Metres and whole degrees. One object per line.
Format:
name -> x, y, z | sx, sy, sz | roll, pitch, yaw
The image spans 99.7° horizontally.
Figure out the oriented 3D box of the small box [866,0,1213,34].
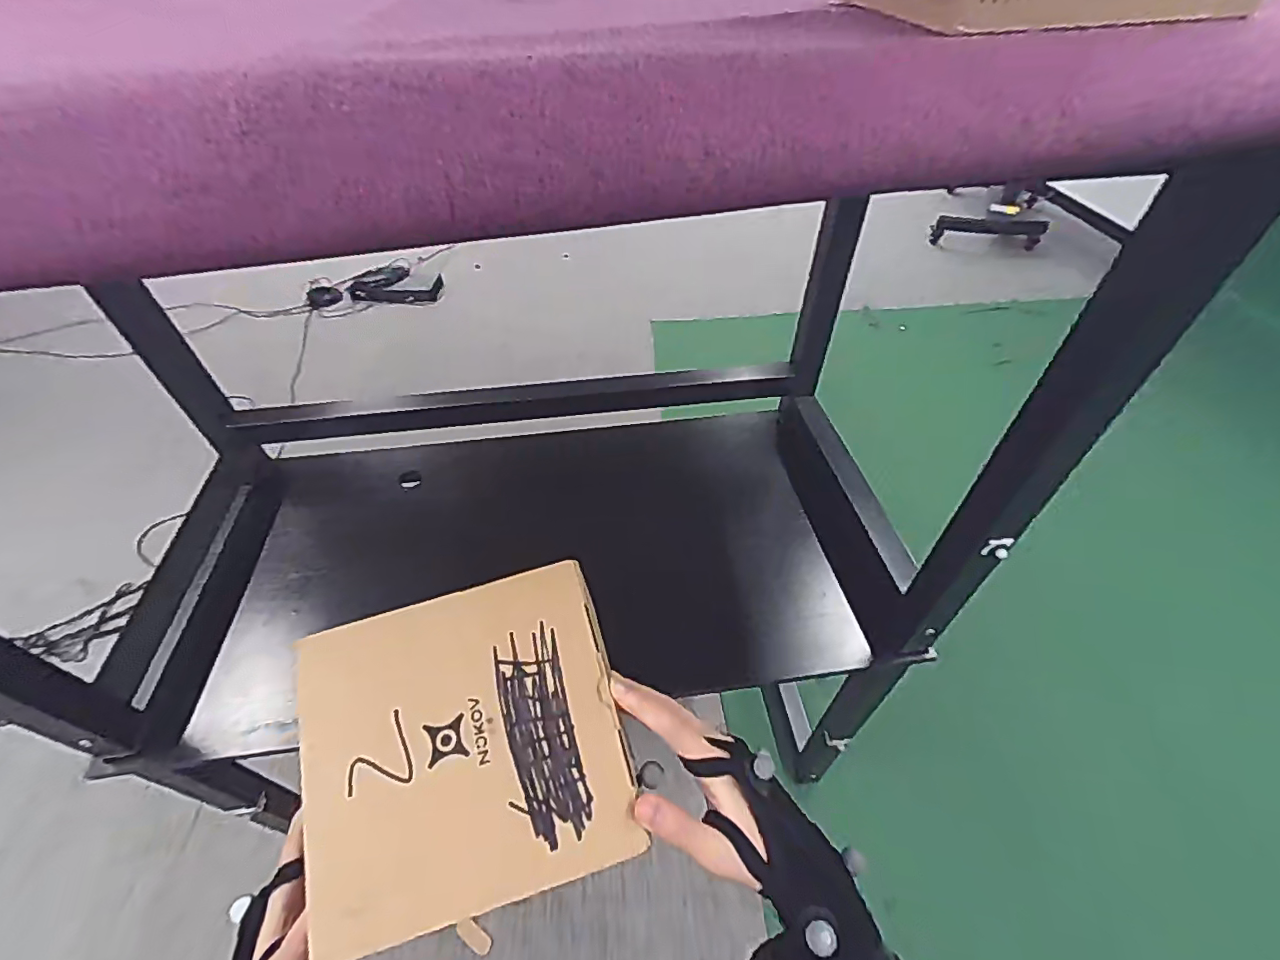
small box -> 0.234, -0.358, 0.283 | 0.179, 0.176, 0.168 | -6, 47, -3
